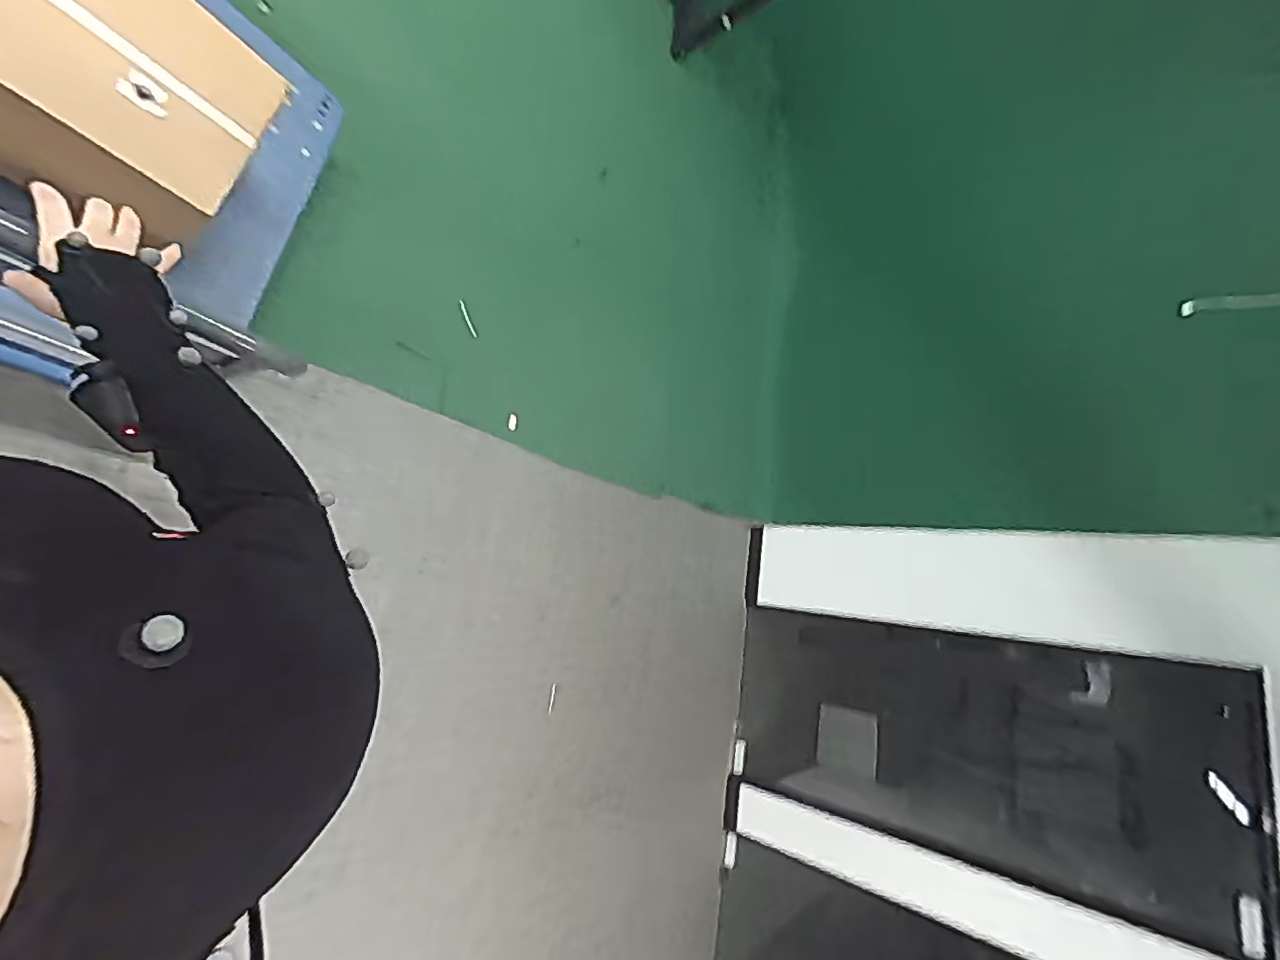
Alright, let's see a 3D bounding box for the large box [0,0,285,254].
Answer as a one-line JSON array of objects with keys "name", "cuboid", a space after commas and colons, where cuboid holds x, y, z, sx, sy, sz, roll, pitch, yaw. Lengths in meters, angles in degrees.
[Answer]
[{"name": "large box", "cuboid": [-0.908, -0.658, 0.883, 0.408, 0.320, 0.320, 34, 63, -46]}]
